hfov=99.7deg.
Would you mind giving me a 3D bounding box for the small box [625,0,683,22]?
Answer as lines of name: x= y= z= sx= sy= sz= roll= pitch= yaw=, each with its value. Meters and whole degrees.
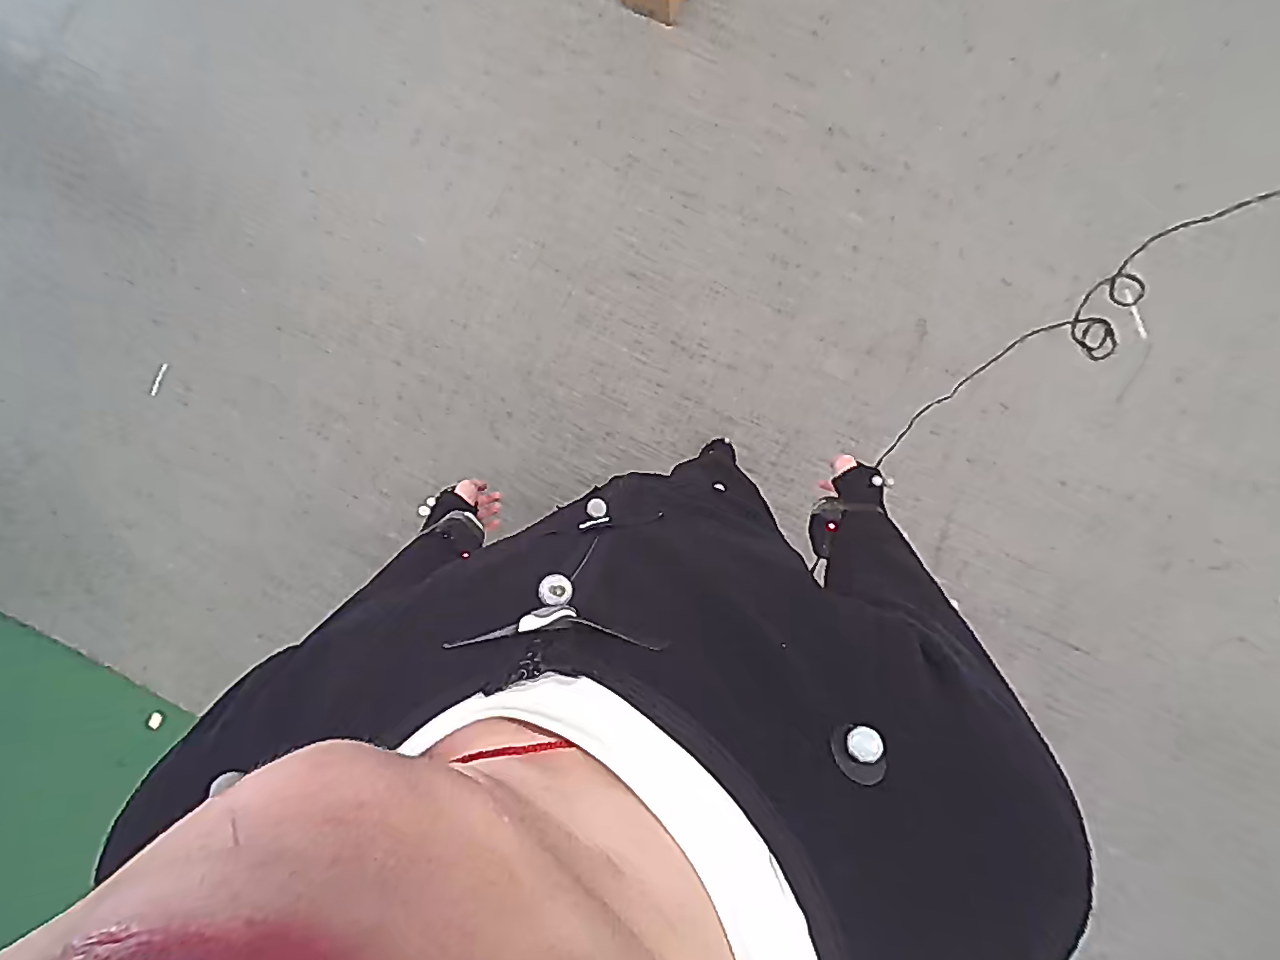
small box: x=0.051 y=-1.392 z=1.436 sx=0.168 sy=0.176 sz=0.179 roll=27 pitch=92 yaw=4
